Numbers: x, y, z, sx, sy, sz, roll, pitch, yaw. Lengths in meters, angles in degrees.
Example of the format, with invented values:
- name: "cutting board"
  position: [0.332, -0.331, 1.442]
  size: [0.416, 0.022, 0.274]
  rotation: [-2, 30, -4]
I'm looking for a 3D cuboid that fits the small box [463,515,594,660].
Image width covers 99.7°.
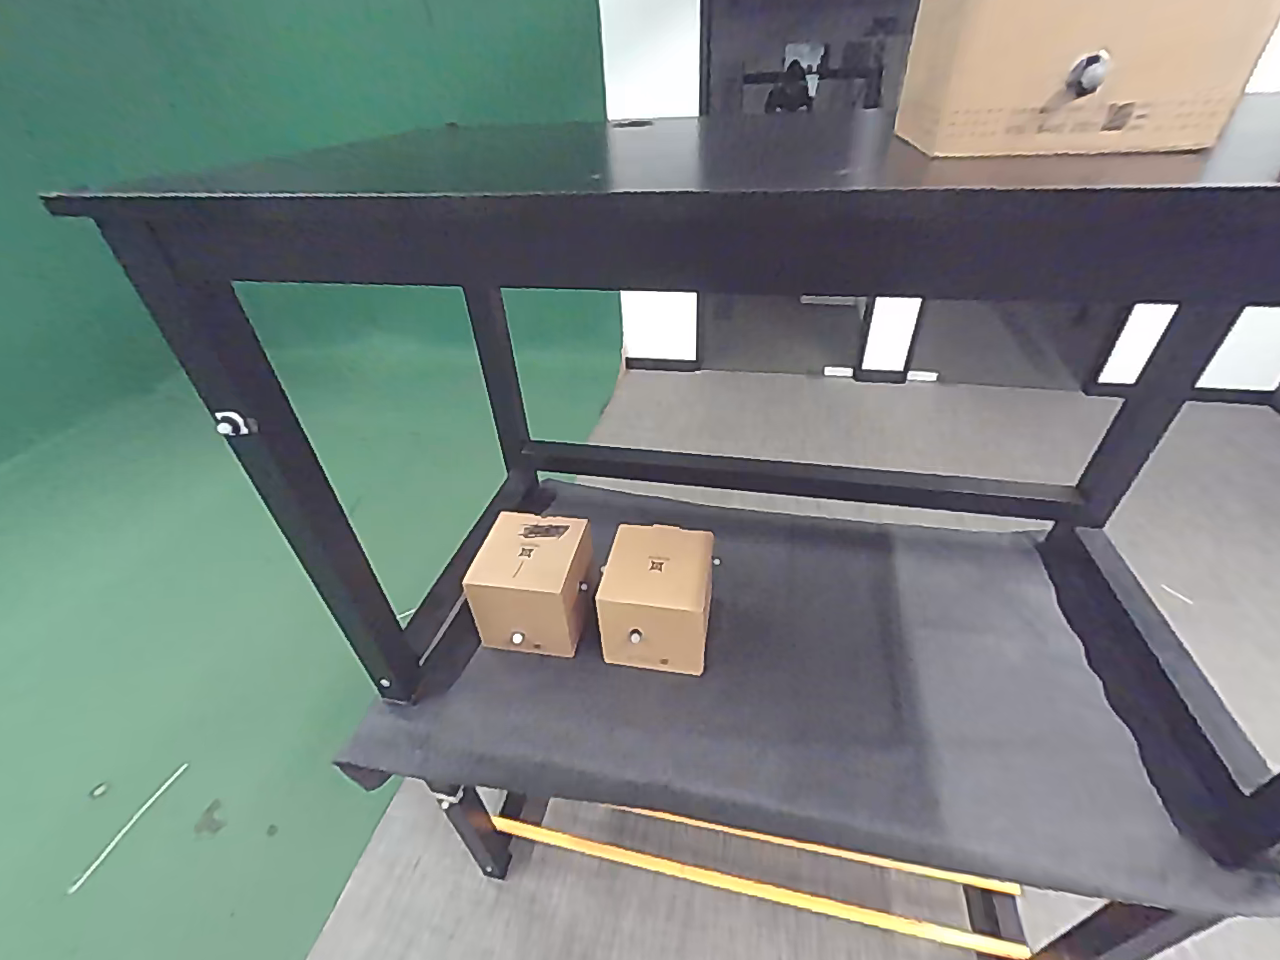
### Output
- name: "small box"
  position: [-0.182, 0.185, 0.950]
  size: [0.168, 0.176, 0.179]
  rotation: [4, 37, 10]
